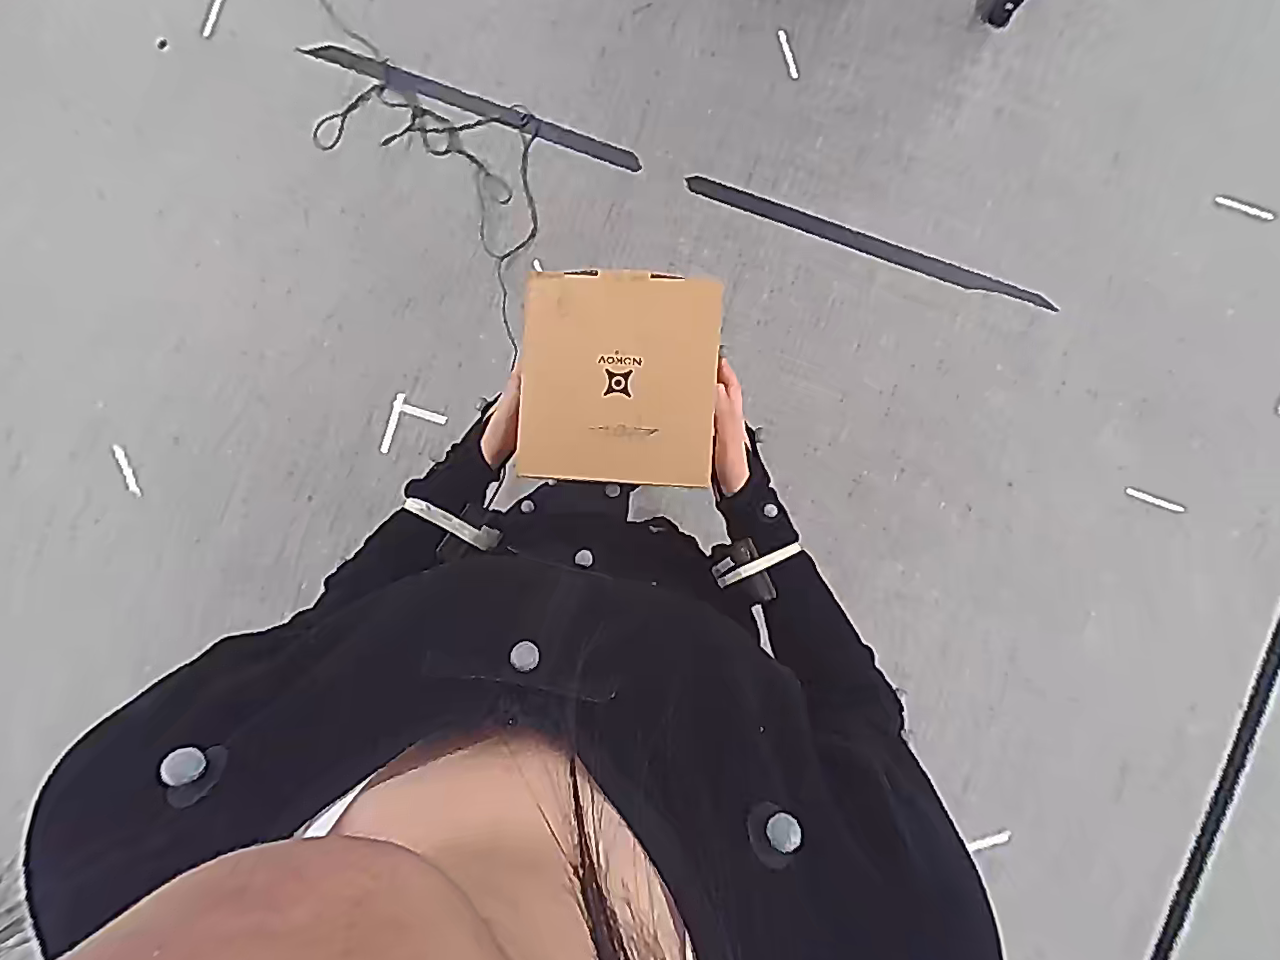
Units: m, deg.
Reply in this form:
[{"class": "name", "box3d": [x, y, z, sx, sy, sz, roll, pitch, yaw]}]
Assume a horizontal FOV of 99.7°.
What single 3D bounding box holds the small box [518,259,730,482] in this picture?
[{"class": "small box", "box3d": [-0.011, -0.092, 0.526, 0.168, 0.176, 0.179, 4, 91, 3]}]
